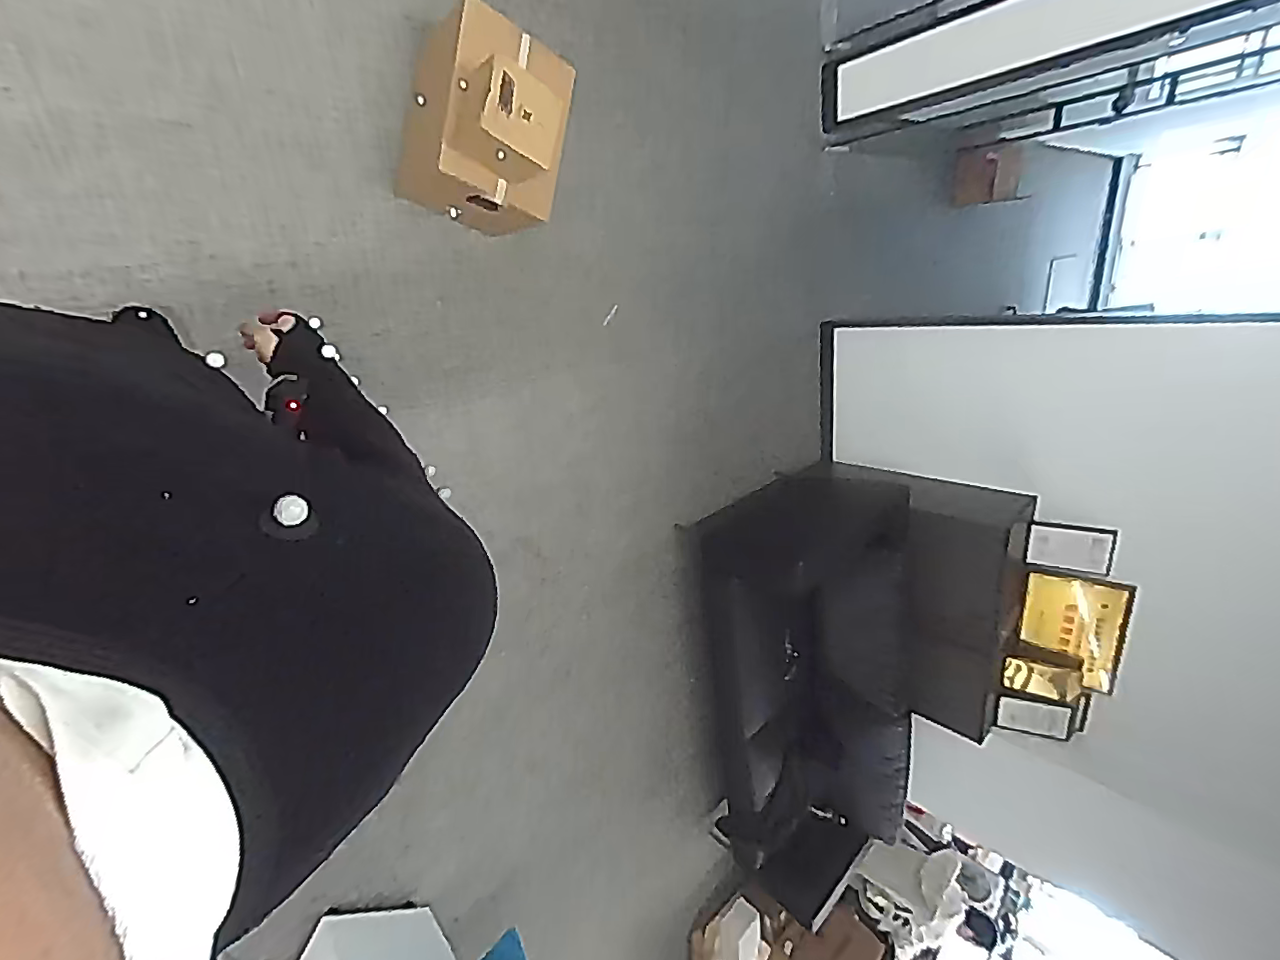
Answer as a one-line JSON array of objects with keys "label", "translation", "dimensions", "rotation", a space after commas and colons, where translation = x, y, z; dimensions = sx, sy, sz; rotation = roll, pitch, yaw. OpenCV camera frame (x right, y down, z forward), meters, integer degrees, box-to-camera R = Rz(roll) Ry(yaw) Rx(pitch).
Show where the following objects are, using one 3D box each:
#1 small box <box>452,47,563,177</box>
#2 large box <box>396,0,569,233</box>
[{"label": "small box", "translation": [-0.310, -0.832, 1.249], "dimensions": [0.179, 0.176, 0.168], "rotation": [12, 94, -43]}, {"label": "large box", "translation": [-0.430, -0.940, 1.452], "dimensions": [0.320, 0.320, 0.408], "rotation": [6, 96, -45]}]
